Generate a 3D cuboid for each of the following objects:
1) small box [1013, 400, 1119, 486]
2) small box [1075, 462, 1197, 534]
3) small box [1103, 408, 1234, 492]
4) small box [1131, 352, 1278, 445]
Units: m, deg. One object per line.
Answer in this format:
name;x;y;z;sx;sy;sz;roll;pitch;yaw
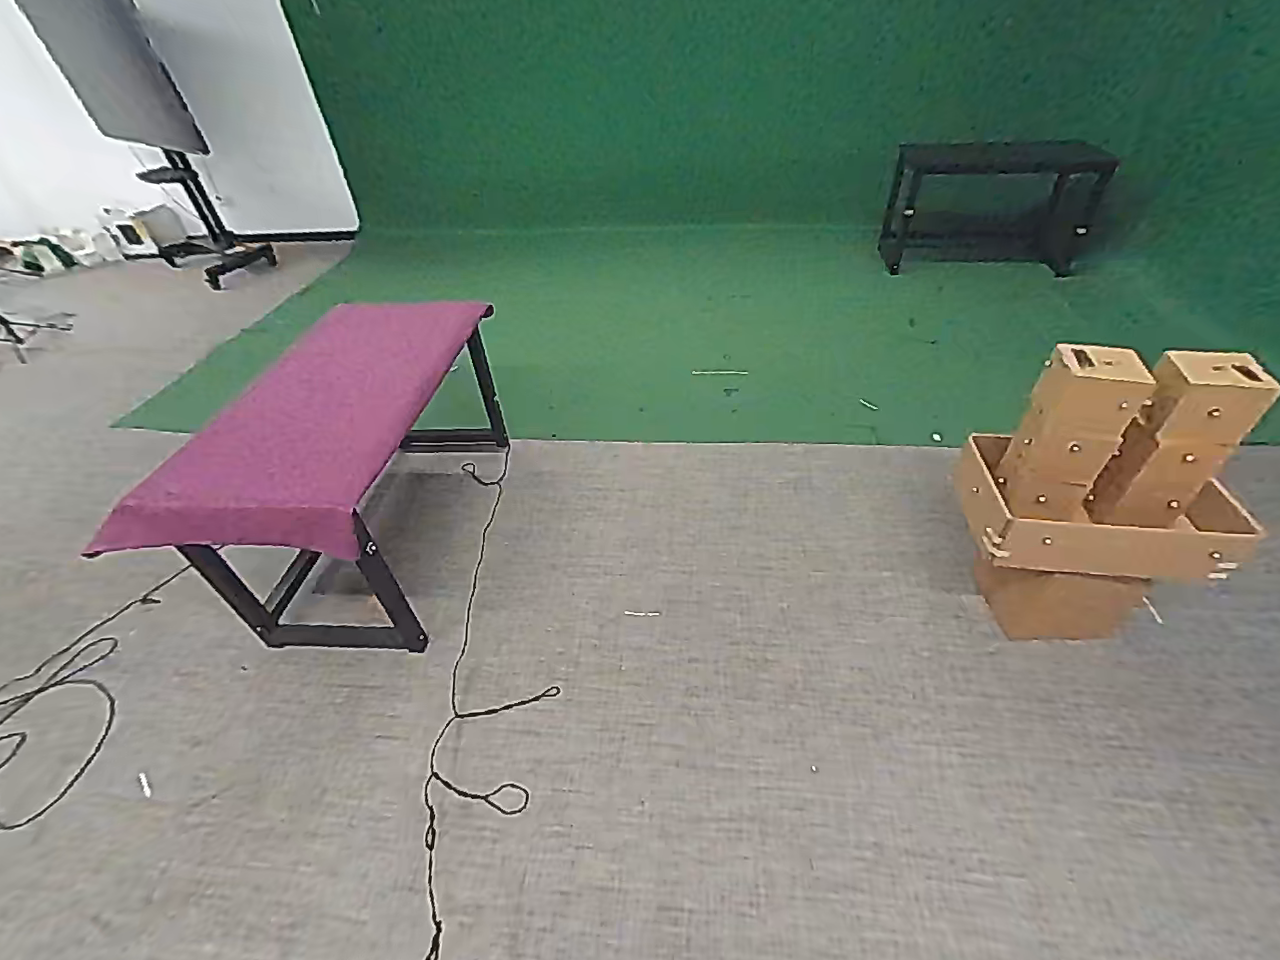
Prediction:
small box;1.178;-0.102;1.517;0.179;0.176;0.168;11;44;15
small box;1.437;0.042;1.581;0.179;0.176;0.168;2;41;8
small box;1.422;-0.080;1.476;0.179;0.176;0.168;1;42;9
small box;1.414;-0.205;1.370;0.179;0.176;0.168;7;43;16
